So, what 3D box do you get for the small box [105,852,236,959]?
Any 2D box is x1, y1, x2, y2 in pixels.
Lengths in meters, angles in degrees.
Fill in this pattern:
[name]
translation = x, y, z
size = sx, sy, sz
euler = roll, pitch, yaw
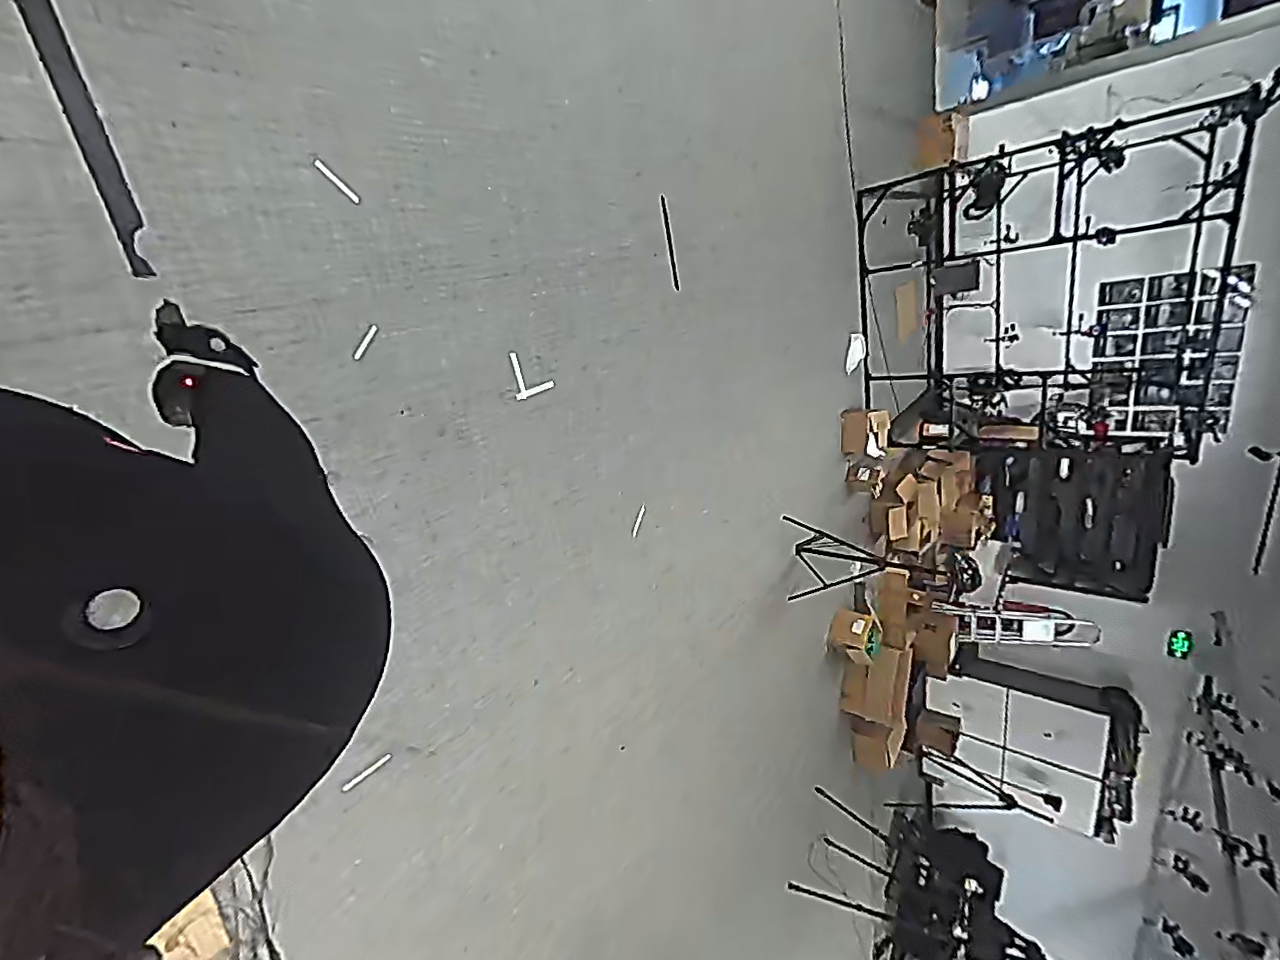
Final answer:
[small box]
translation = -1.015, 0.952, 1.167
size = 0.168, 0.176, 0.179
euler = -21, 111, -46
